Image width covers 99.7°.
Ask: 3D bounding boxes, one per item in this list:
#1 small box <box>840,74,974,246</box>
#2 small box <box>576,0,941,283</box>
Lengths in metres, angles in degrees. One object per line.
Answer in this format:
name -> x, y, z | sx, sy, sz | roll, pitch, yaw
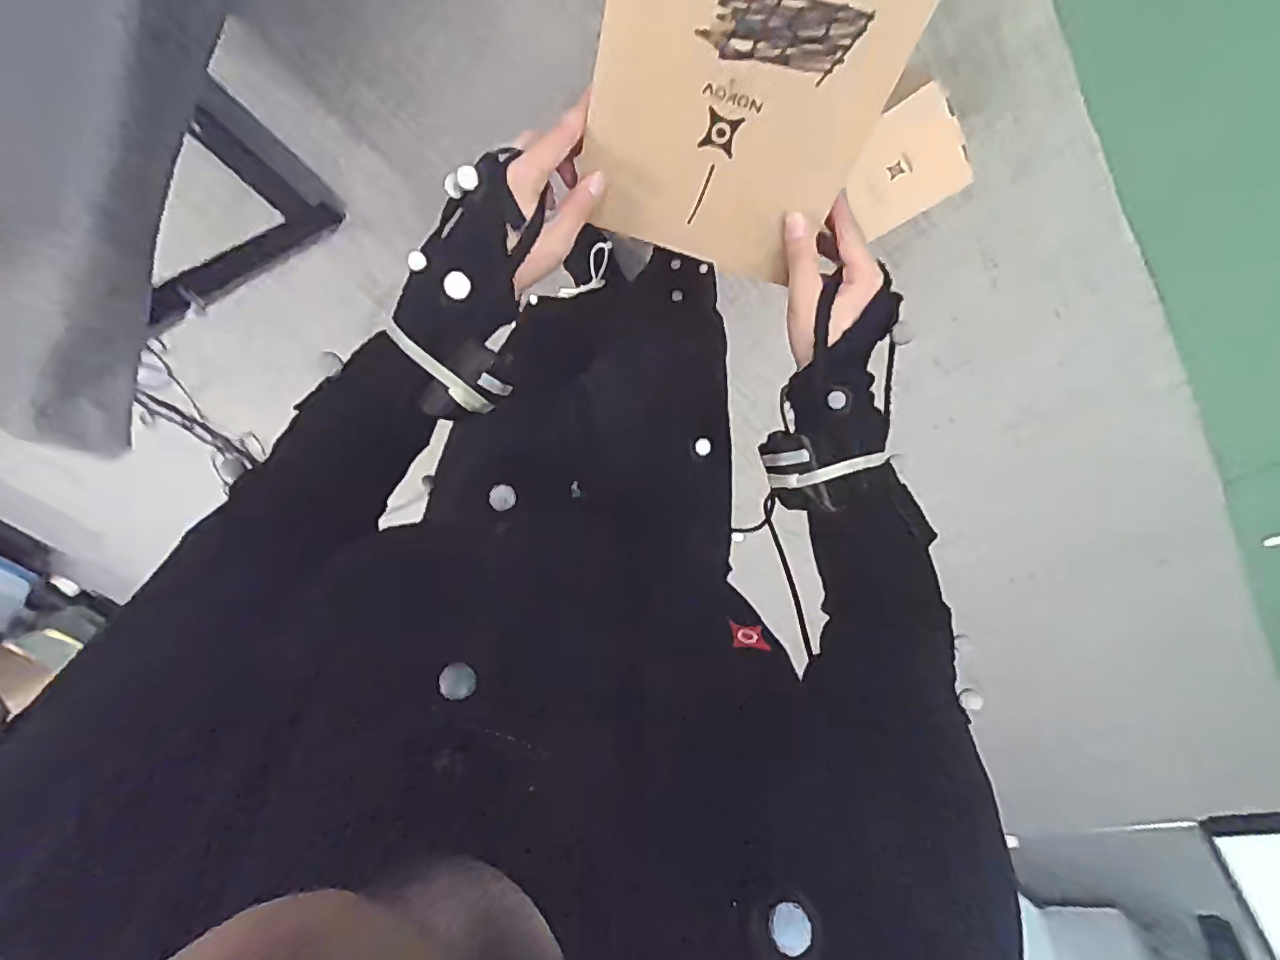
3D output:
small box -> 0.417, -0.534, 0.900 | 0.179, 0.176, 0.168 | -24, 122, 31
small box -> 0.065, -0.274, 0.369 | 0.168, 0.176, 0.179 | 16, 138, -5
